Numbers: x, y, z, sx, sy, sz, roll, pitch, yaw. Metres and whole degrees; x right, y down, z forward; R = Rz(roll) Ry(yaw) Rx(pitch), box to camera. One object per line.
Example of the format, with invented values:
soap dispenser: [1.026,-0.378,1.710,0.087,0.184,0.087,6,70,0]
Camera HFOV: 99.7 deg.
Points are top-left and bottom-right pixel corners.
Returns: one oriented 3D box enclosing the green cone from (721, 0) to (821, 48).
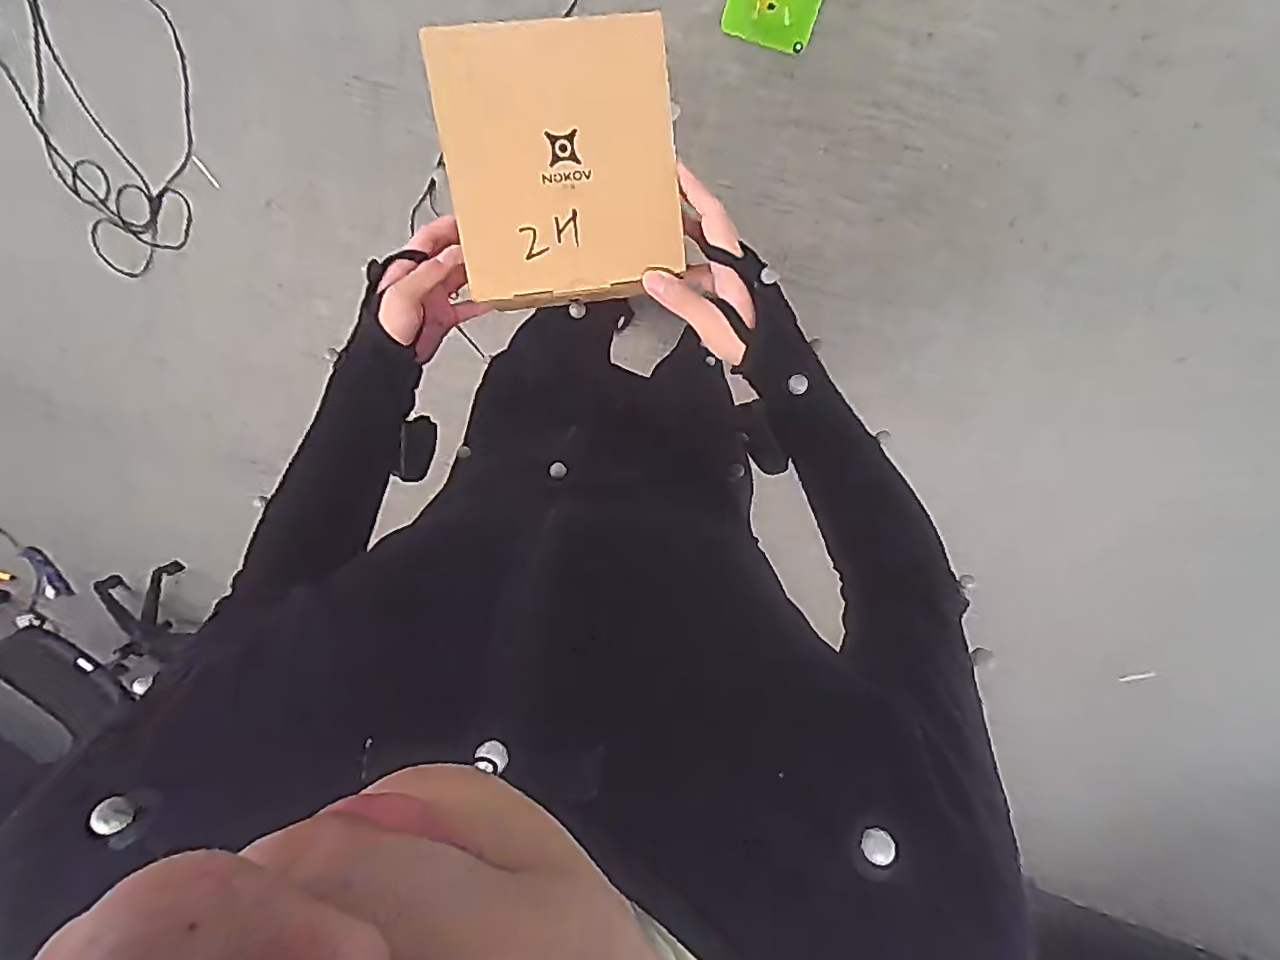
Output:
green cone: [0.262,-0.997,0.993,0.202,0.368,0.200,19,114,3]
